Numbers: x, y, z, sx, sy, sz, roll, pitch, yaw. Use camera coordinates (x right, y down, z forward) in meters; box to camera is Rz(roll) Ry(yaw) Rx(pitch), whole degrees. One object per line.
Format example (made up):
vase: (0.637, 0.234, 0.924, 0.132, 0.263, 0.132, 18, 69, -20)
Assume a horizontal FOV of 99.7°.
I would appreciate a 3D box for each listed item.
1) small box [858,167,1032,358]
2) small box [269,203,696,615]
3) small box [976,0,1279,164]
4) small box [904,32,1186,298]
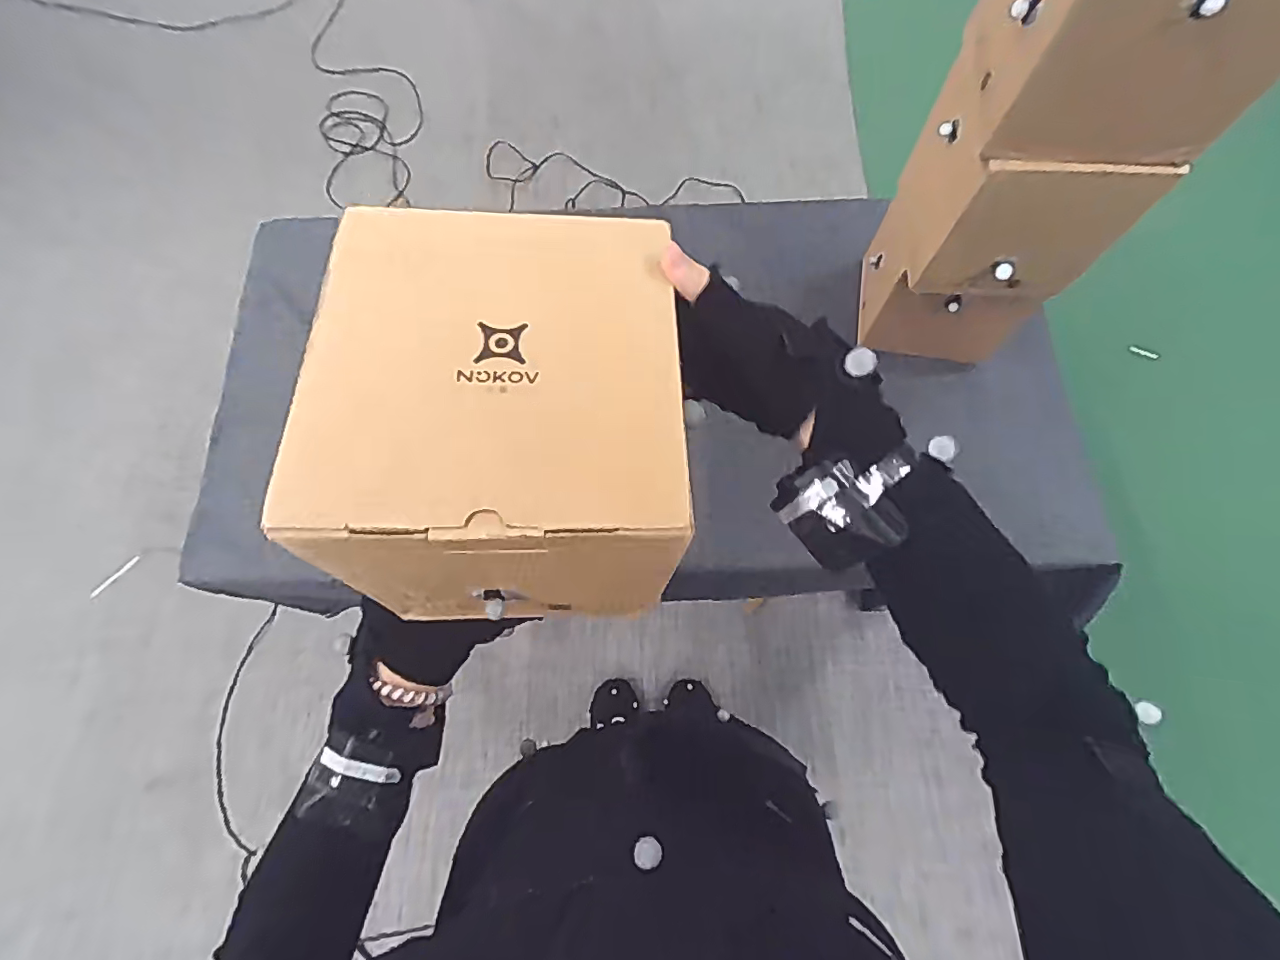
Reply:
small box: (0.410, -0.283, 0.727, 0.179, 0.176, 0.168, 10, 72, 5)
small box: (-0.069, -0.027, 0.315, 0.168, 0.176, 0.179, -1, 66, -6)
small box: (0.384, -0.375, 0.414, 0.179, 0.176, 0.168, 6, 72, 5)
small box: (0.394, -0.320, 0.567, 0.168, 0.176, 0.179, 4, 72, 4)
